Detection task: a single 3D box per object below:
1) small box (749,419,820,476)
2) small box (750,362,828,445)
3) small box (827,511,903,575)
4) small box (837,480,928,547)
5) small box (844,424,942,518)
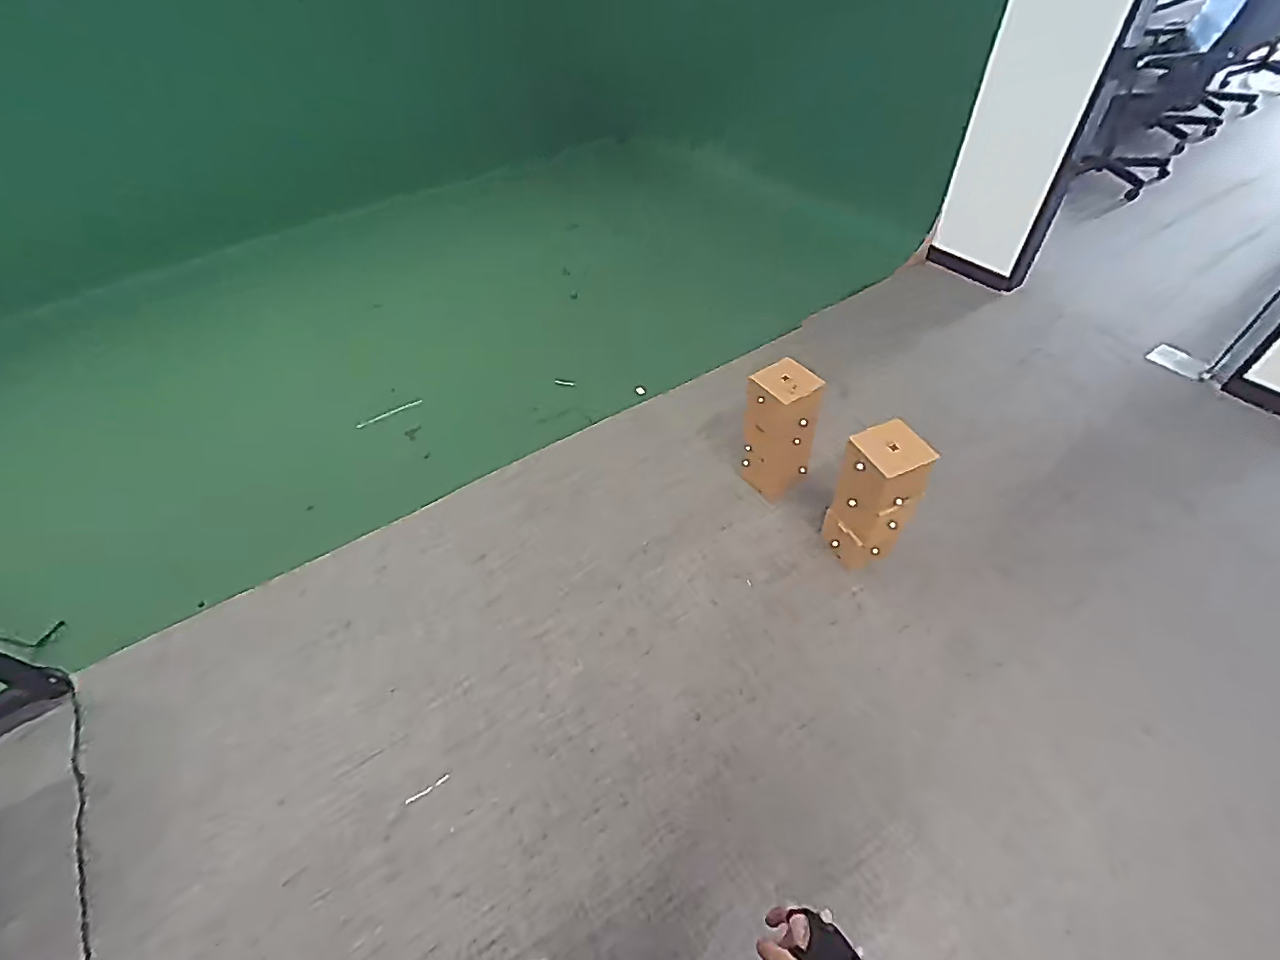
[{"bbox_3d":[0.494,-0.144,1.873,0.179,0.176,0.168,-28,52,-18],"label":"small box"},{"bbox_3d":[0.472,-0.243,1.742,0.168,0.176,0.179,-29,52,-16],"label":"small box"},{"bbox_3d":[0.734,0.184,1.774,0.179,0.176,0.168,-22,51,-10],"label":"small box"},{"bbox_3d":[0.729,0.081,1.648,0.168,0.176,0.179,-23,50,-12],"label":"small box"},{"bbox_3d":[0.702,-0.024,1.526,0.168,0.176,0.179,-20,50,-8],"label":"small box"}]
